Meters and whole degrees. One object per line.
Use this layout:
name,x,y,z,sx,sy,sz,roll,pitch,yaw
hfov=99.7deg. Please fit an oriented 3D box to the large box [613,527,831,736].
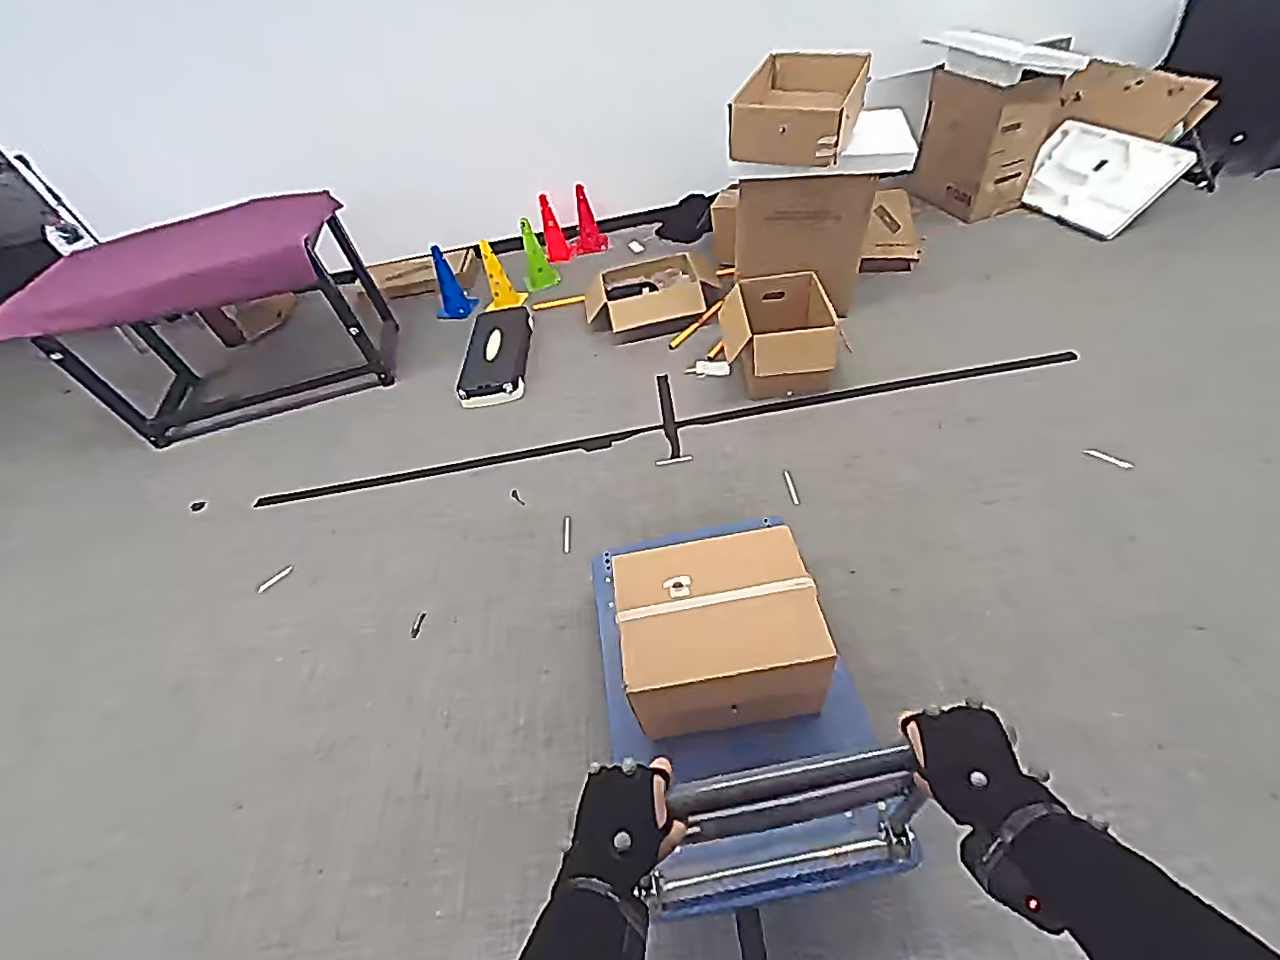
large box,0.177,0.352,1.239,0.408,0.320,0.320,-11,47,2
